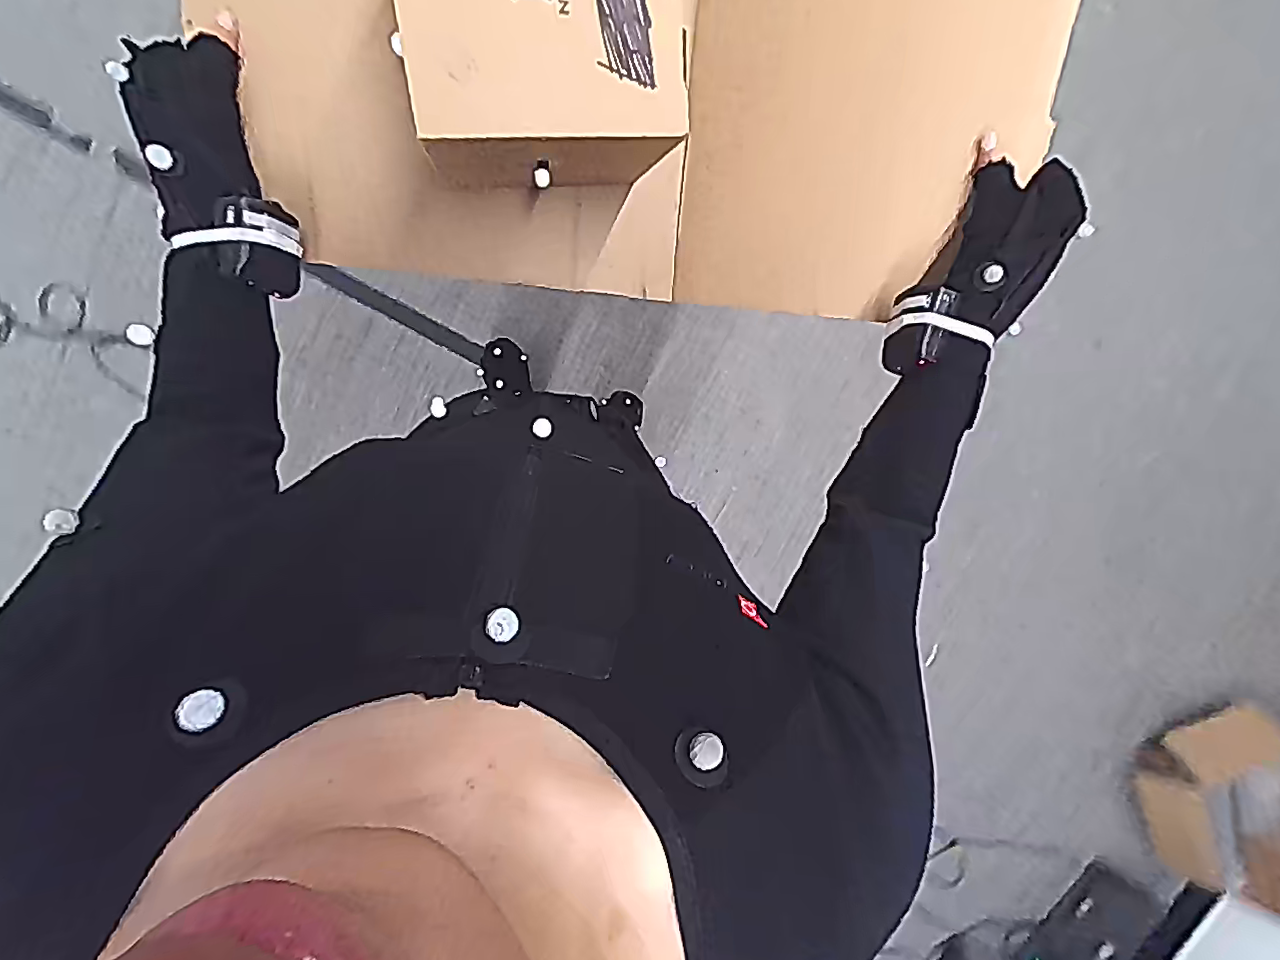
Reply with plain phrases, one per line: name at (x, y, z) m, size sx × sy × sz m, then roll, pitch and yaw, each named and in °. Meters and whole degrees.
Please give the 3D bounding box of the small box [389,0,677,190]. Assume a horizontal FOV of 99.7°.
small box at (-0.082, -0.324, 0.403) m, size 0.179 × 0.176 × 0.168 m, roll -9°, pitch 110°, yaw -11°
